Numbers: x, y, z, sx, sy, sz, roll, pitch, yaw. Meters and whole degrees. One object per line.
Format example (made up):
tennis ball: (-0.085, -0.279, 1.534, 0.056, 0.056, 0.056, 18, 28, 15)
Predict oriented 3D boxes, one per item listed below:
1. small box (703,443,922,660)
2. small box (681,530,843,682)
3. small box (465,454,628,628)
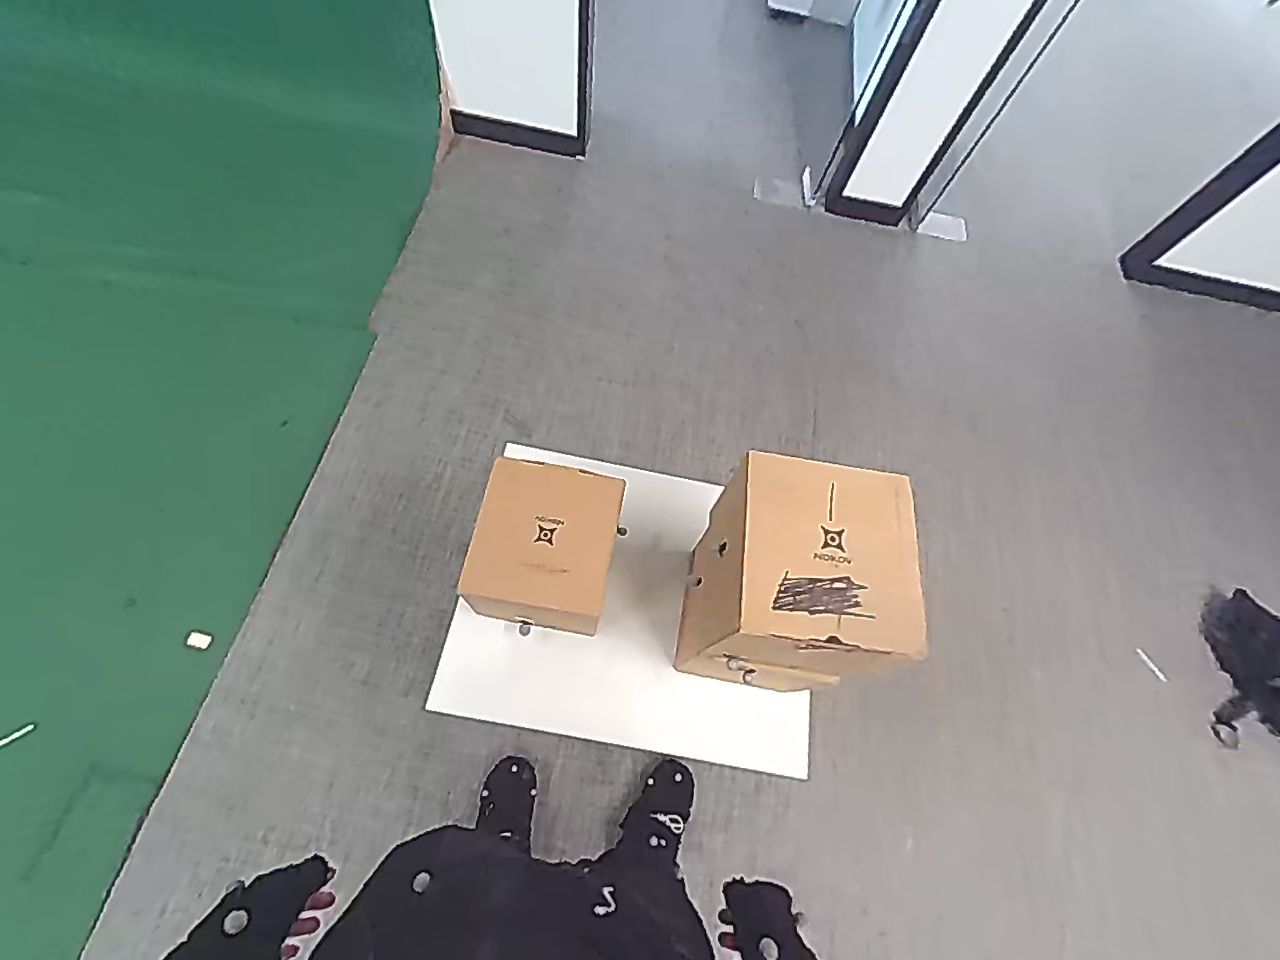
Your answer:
small box: (0.165, 0.085, 0.565, 0.168, 0.176, 0.179, 8, 66, -2)
small box: (0.154, 0.157, 0.713, 0.168, 0.176, 0.179, 11, 66, -1)
small box: (-0.115, 0.088, 0.716, 0.168, 0.176, 0.179, 9, 68, -2)
